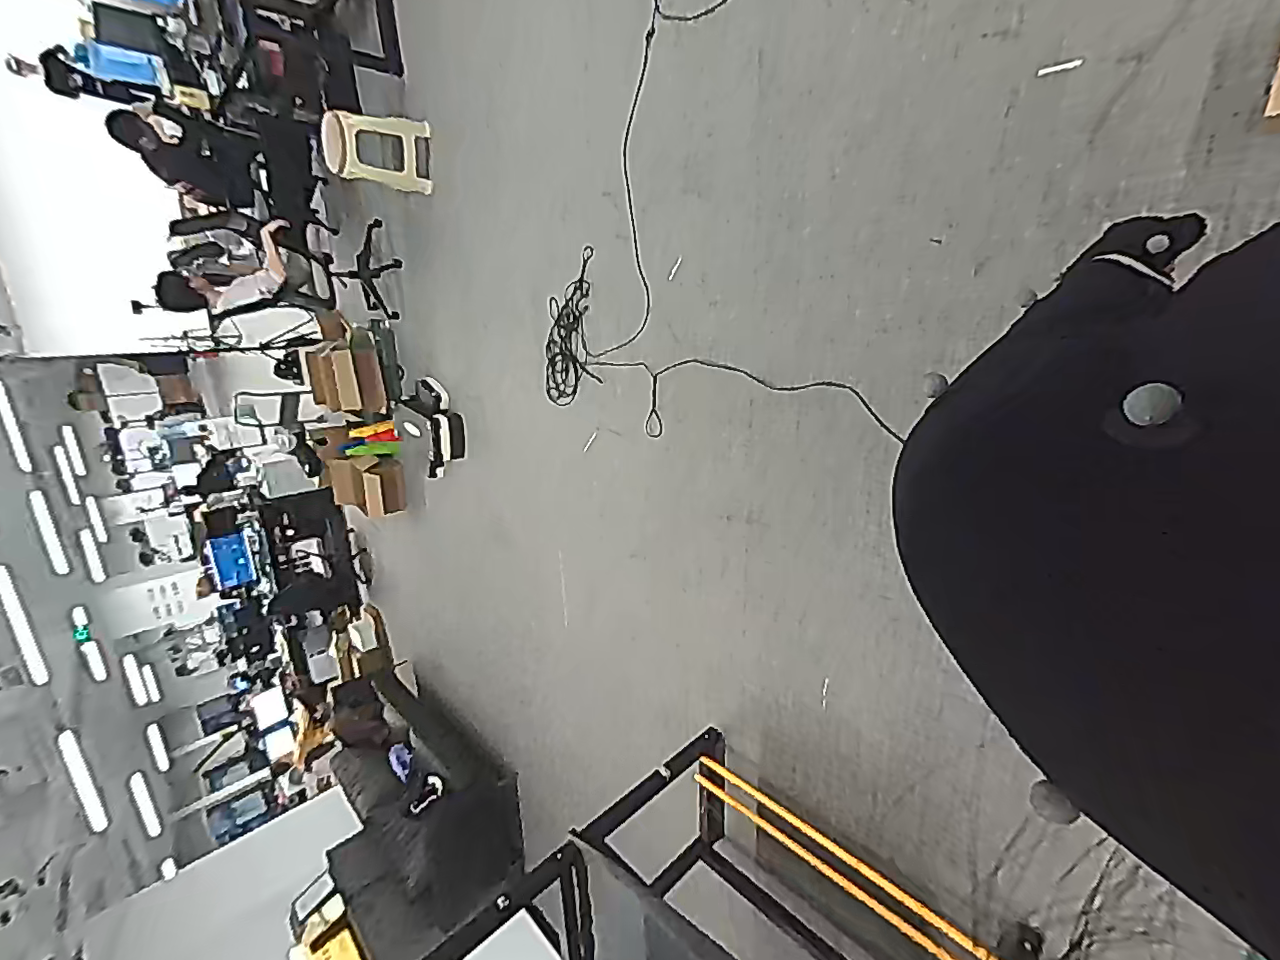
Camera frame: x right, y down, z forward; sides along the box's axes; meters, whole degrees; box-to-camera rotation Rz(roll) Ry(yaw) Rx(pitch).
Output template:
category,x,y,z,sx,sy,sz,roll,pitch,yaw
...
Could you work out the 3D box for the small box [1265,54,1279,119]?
category,x,y,z,sx,sy,sz,roll,pitch,yaw
small box,1.056,-0.649,0.785,0.168,0.176,0.179,15,114,44
